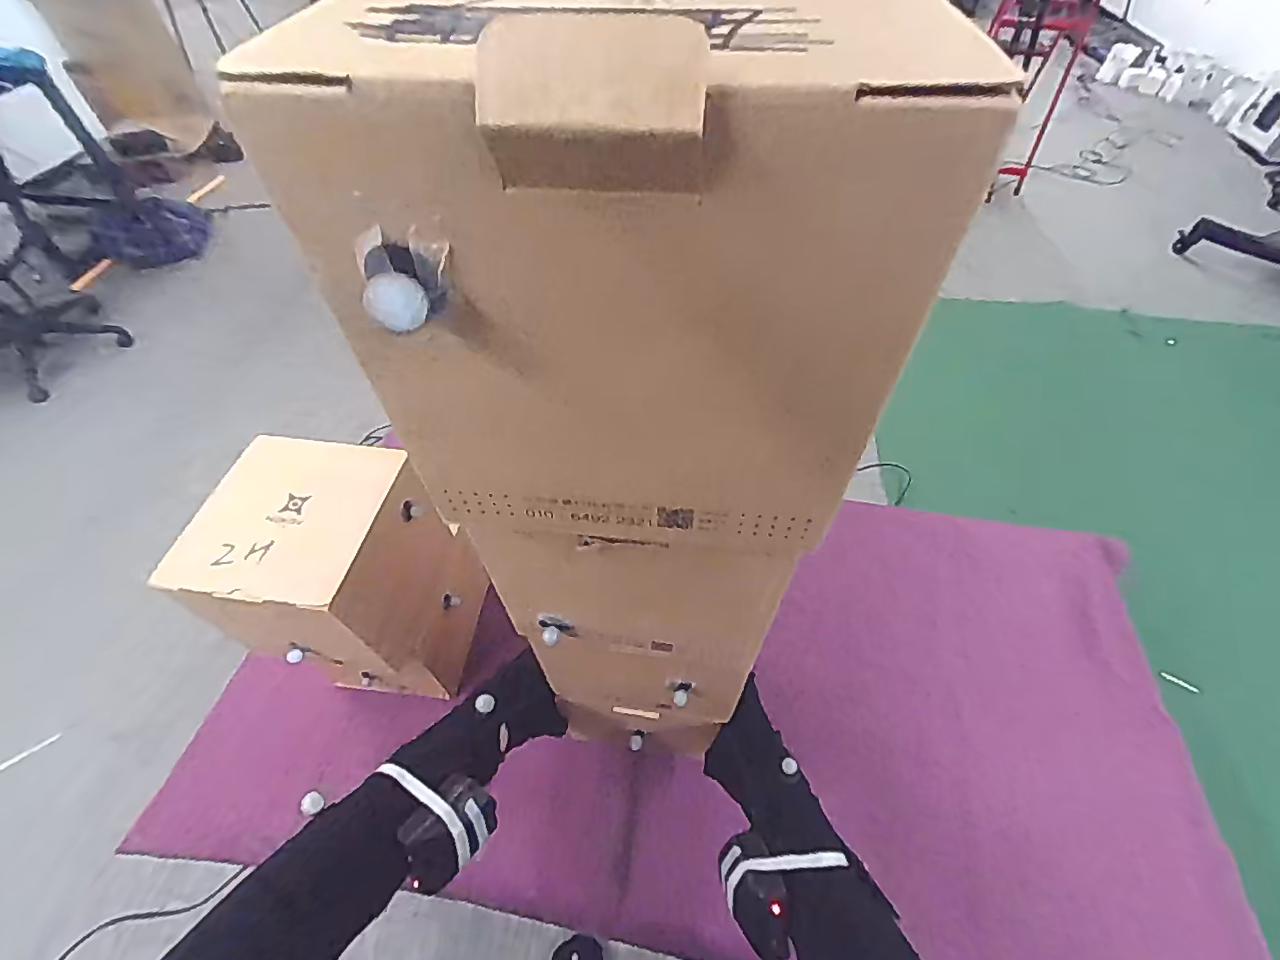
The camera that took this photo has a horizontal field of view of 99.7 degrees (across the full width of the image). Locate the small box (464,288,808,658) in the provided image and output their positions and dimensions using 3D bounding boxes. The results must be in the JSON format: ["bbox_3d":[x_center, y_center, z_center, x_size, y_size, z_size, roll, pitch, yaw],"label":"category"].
[{"bbox_3d":[0.011,0.000,0.360,0.168,0.176,0.179,7,52,6],"label":"small box"}]

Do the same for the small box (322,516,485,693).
[{"bbox_3d":[-0.314,0.157,0.705,0.168,0.176,0.179,5,53,3],"label":"small box"}]

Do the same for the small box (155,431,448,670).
[{"bbox_3d":[-0.318,0.075,0.561,0.168,0.176,0.179,6,54,5],"label":"small box"}]

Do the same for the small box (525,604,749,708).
[{"bbox_3d":[0.015,0.085,0.480,0.168,0.176,0.179,6,52,6],"label":"small box"}]

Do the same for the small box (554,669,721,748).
[{"bbox_3d":[0.010,0.196,0.625,0.168,0.176,0.179,3,52,5],"label":"small box"}]
